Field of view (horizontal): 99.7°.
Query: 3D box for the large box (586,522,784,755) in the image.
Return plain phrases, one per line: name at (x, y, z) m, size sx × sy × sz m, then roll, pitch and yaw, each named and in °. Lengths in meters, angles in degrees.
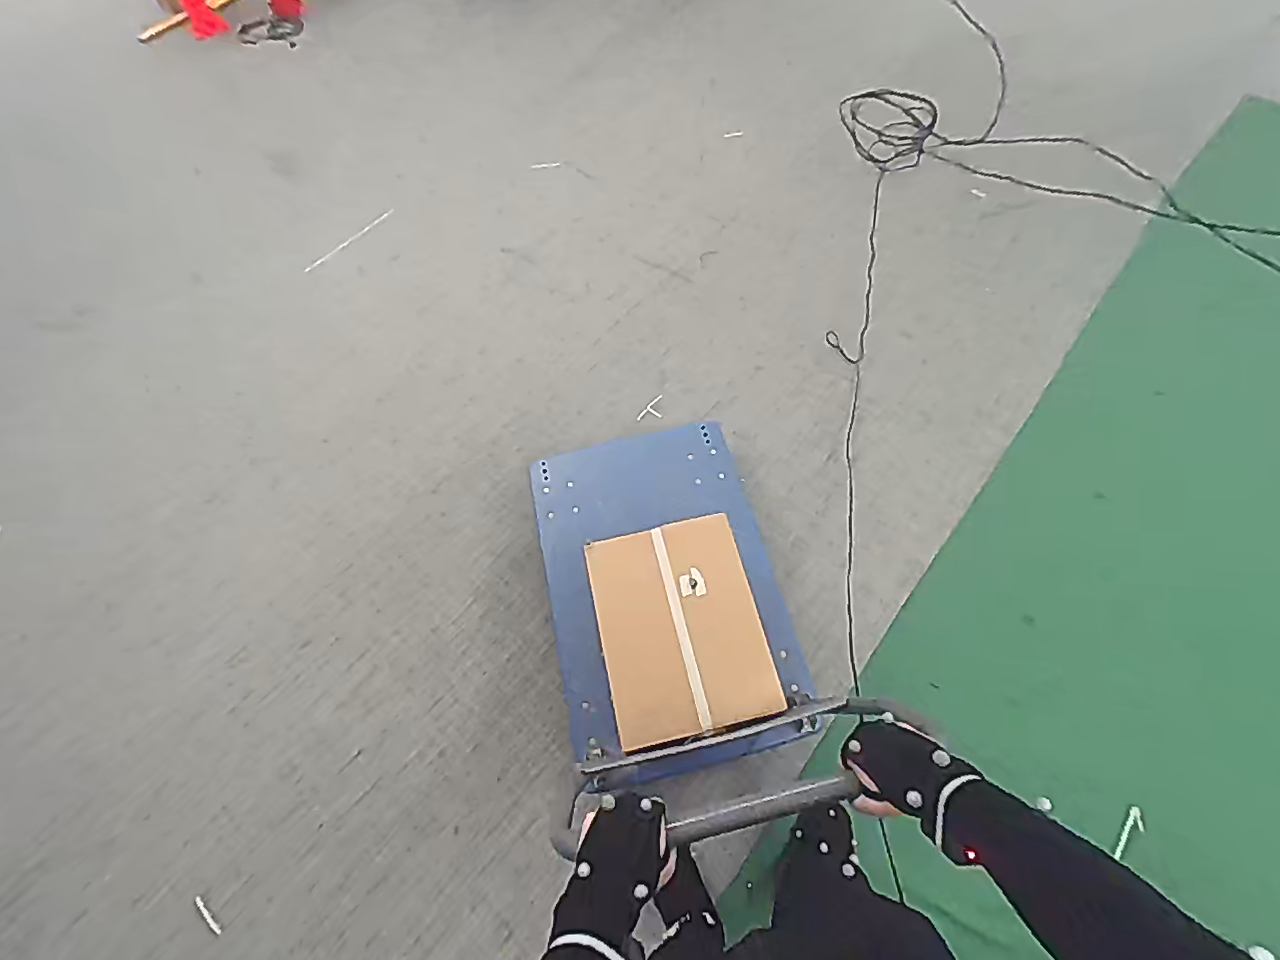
large box at (0.087, 0.362, 1.213) m, size 0.320 × 0.320 × 0.408 m, roll -13°, pitch 63°, yaw -3°
